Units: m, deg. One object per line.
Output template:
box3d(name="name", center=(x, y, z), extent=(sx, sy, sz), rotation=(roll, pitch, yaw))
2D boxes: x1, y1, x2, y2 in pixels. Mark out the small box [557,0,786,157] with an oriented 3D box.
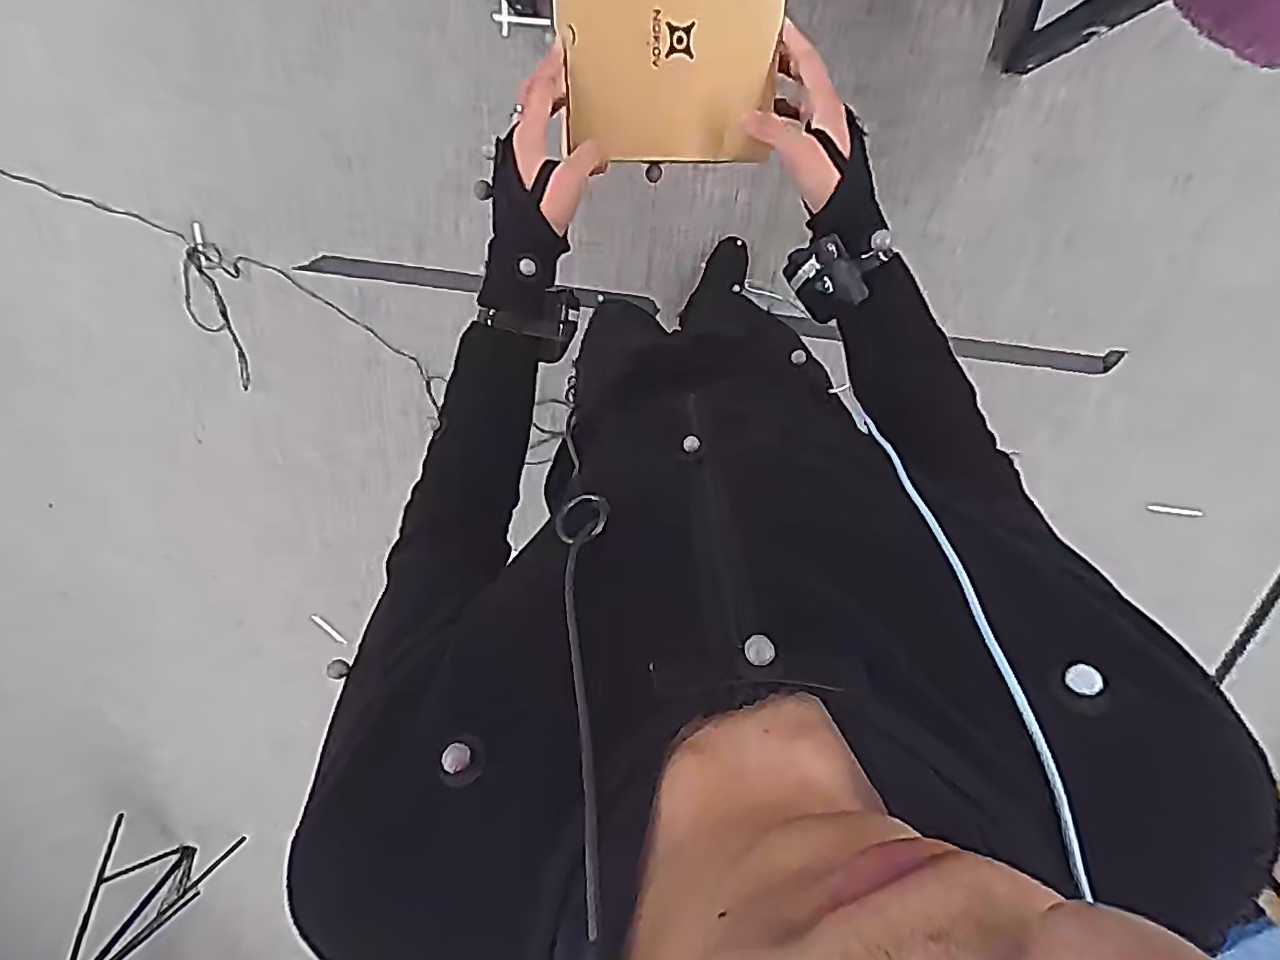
box3d(name="small box", center=(0.017, -0.391, 0.487), extent=(0.179, 0.176, 0.168), rotation=(-3, 122, -6))
